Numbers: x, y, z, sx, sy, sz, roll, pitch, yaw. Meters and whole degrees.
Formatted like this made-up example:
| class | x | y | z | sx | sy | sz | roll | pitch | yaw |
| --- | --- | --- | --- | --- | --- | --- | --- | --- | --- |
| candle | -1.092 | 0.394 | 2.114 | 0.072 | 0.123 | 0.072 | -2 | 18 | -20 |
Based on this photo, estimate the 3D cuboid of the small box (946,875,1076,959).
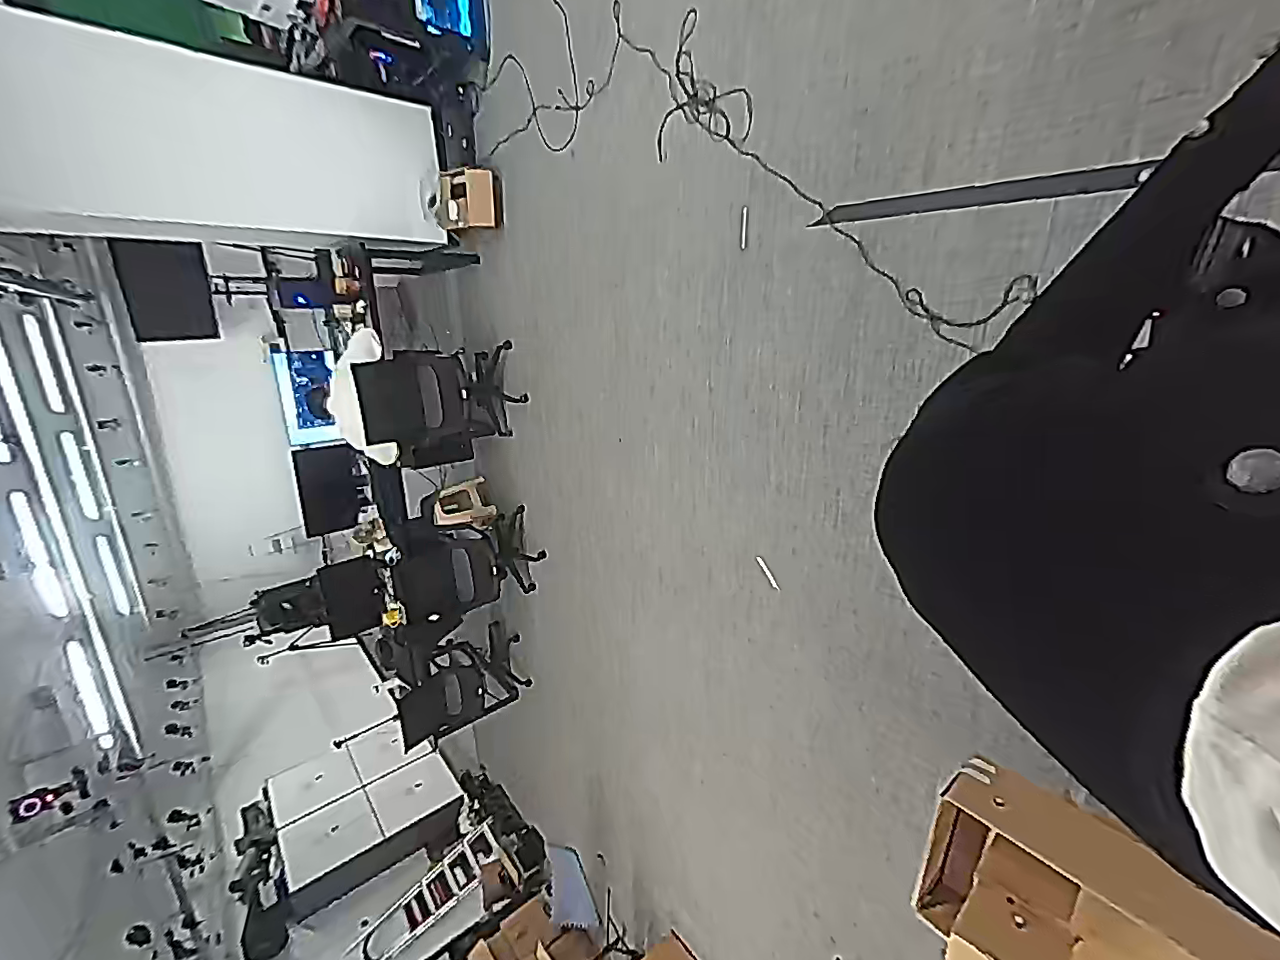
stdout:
| class | x | y | z | sx | sy | sz | roll | pitch | yaw |
| --- | --- | --- | --- | --- | --- | --- | --- | --- | --- |
| small box | 0.729 | 0.949 | 1.069 | 0.168 | 0.176 | 0.179 | 18 | 116 | 46 |
